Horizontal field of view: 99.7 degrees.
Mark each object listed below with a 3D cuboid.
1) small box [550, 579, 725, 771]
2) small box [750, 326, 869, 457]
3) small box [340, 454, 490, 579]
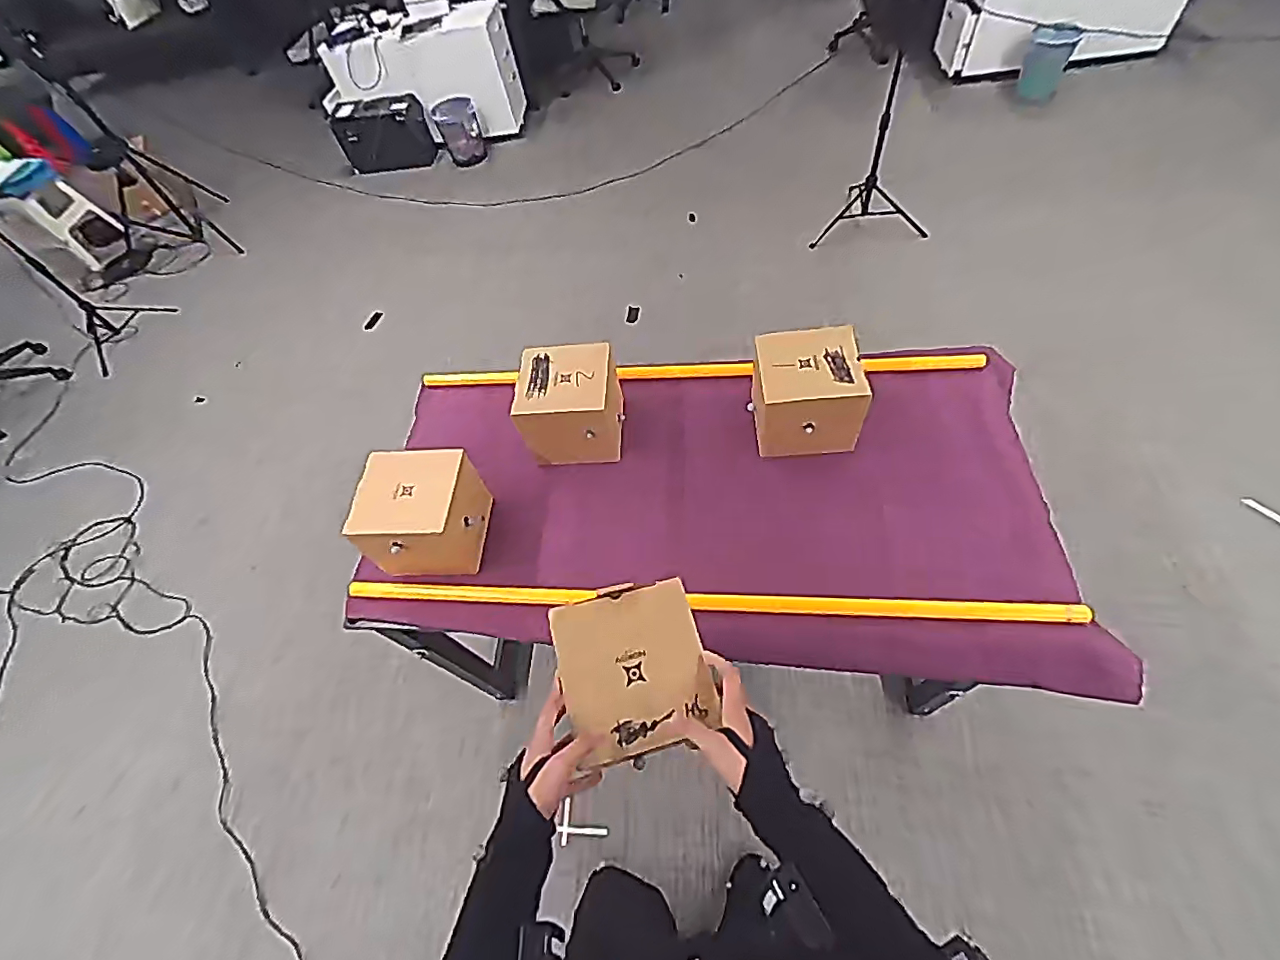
[{"bbox_3d":[-0.010,0.245,0.669,0.168,0.176,0.179,-12,63,-8],"label":"small box"},{"bbox_3d":[0.301,-0.157,0.997,0.179,0.176,0.168,-5,58,8],"label":"small box"},{"bbox_3d":[-0.386,0.069,0.967,0.179,0.176,0.168,-3,57,7],"label":"small box"}]
